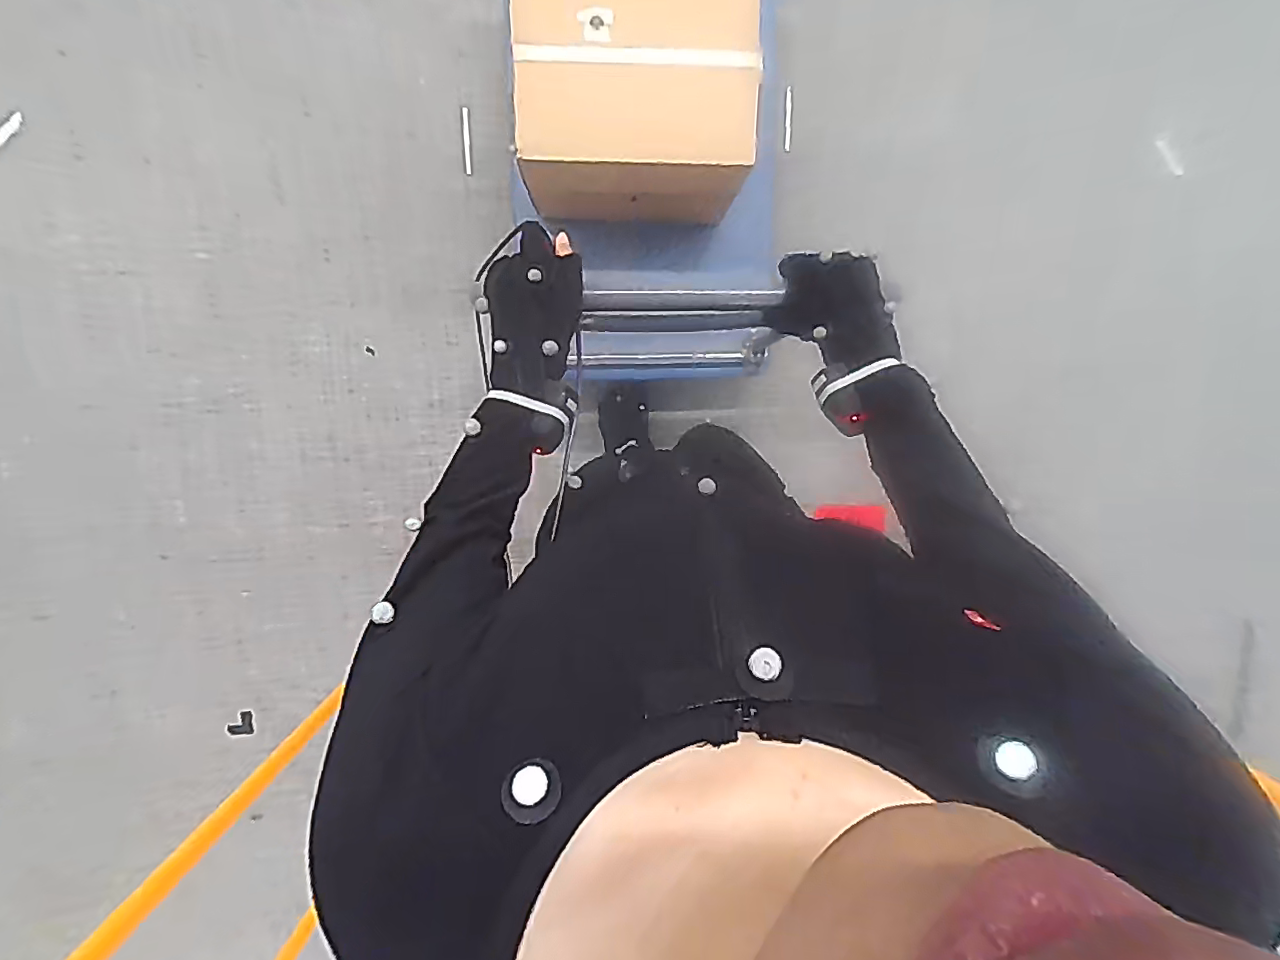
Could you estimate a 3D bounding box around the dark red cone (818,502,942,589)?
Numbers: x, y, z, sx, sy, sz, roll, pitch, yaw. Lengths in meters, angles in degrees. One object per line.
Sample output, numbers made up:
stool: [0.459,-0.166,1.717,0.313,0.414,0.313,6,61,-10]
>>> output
dark red cone: [0.601,0.186,1.328,0.201,0.394,0.202,-2,99,-5]

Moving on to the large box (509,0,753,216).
large box: [-0.017,-0.712,1.033,0.408,0.320,0.320,0,99,-3]
